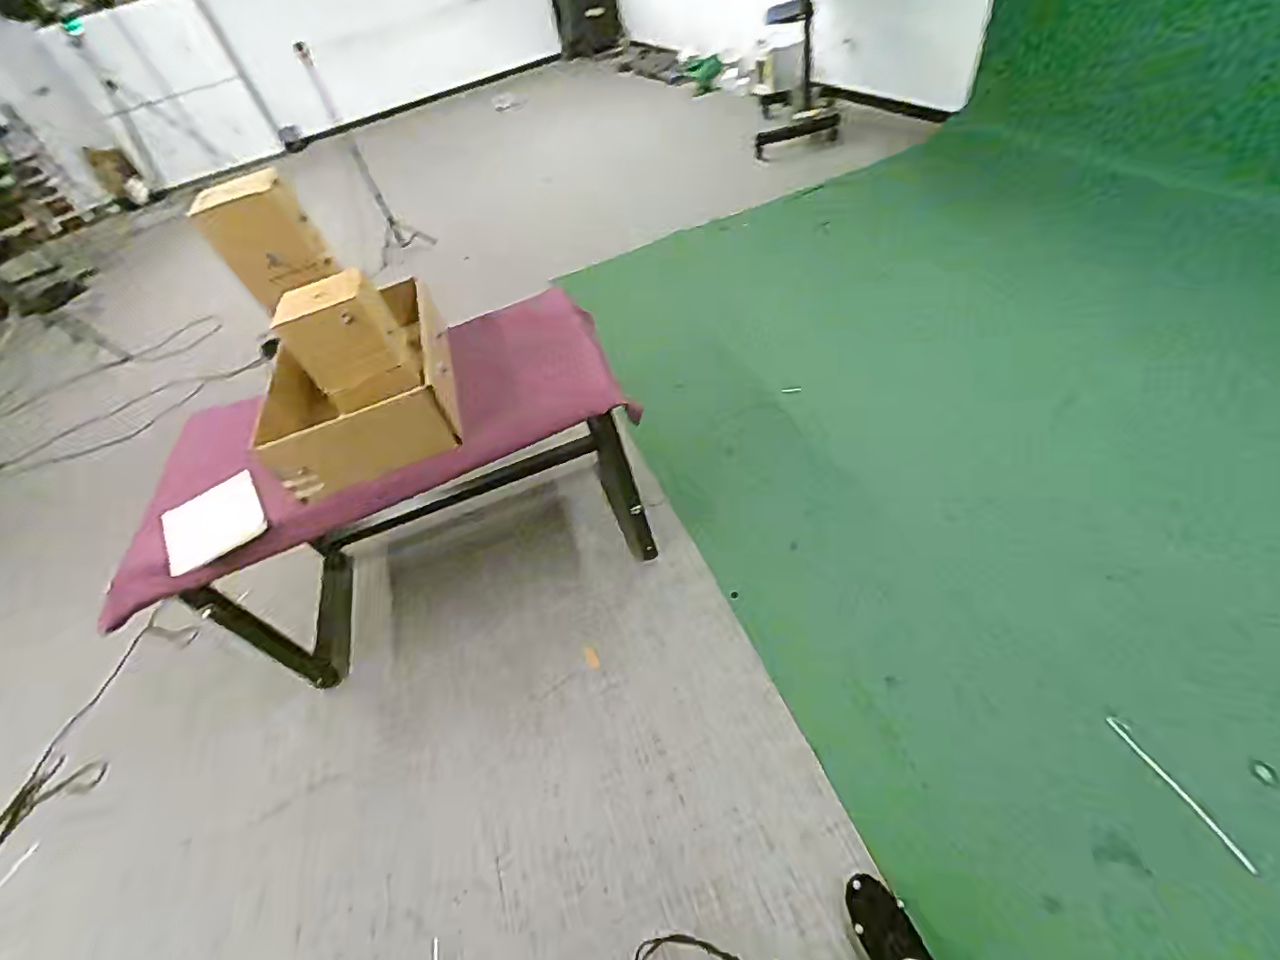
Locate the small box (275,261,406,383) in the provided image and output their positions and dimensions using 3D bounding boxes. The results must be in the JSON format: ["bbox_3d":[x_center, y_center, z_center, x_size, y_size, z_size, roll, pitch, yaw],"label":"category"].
[{"bbox_3d":[-0.628,-0.334,1.157,0.179,0.176,0.168,-21,45,-4],"label":"small box"}]

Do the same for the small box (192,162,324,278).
[{"bbox_3d":[-0.852,-0.589,1.230,0.179,0.176,0.168,-21,47,-6],"label":"small box"}]

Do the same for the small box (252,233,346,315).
[{"bbox_3d":[-0.817,-0.481,1.348,0.179,0.176,0.168,-23,48,-6],"label":"small box"}]
